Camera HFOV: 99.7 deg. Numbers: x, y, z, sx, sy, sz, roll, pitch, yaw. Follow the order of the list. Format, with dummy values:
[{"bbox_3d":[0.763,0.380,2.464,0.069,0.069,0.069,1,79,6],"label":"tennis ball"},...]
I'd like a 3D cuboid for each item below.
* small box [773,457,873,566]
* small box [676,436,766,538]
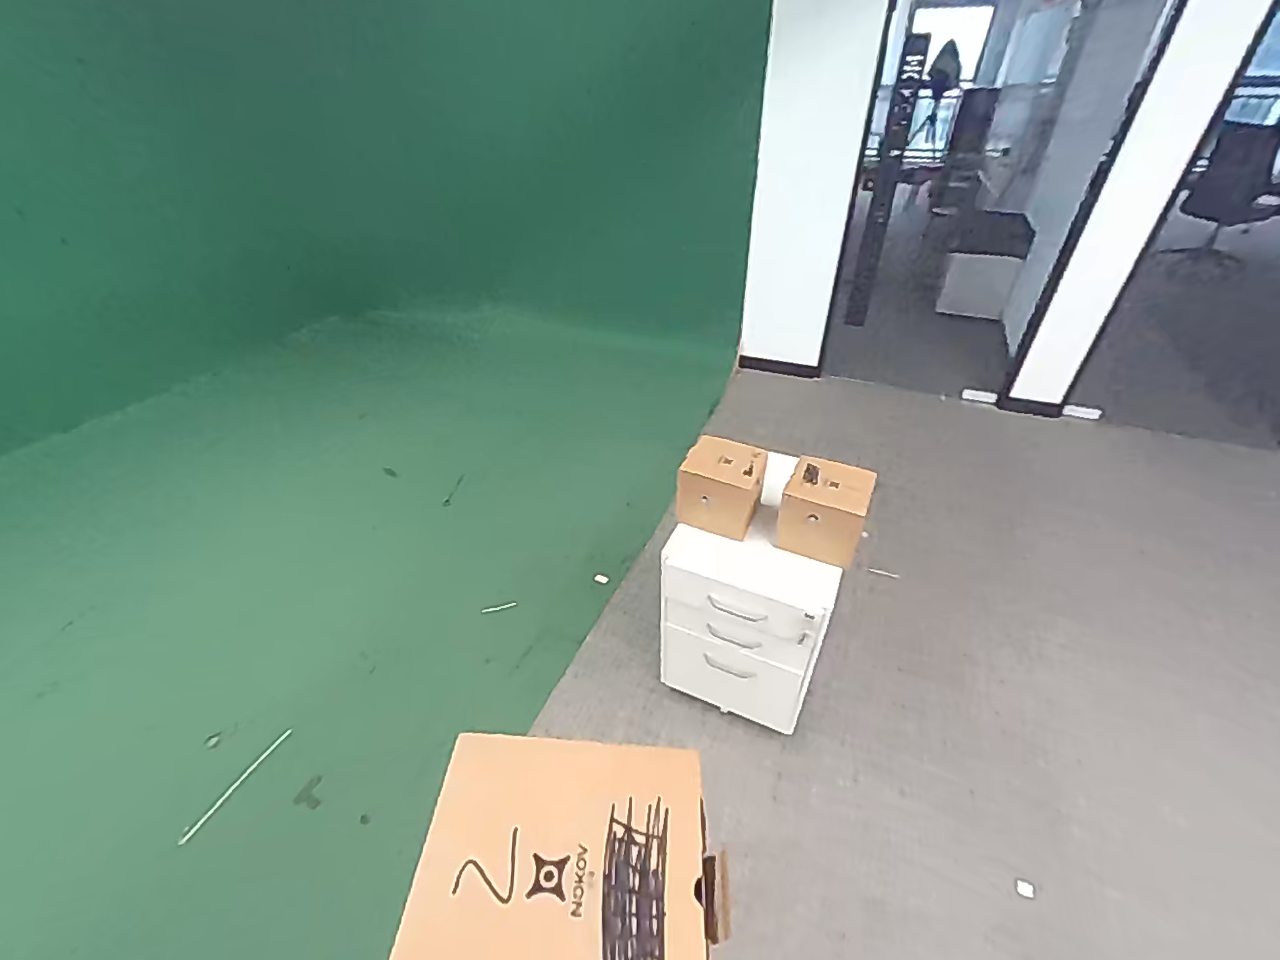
[{"bbox_3d":[0.421,0.074,1.262,0.179,0.176,0.168,17,42,22],"label":"small box"},{"bbox_3d":[0.196,0.019,1.336,0.179,0.176,0.168,17,42,20],"label":"small box"}]
